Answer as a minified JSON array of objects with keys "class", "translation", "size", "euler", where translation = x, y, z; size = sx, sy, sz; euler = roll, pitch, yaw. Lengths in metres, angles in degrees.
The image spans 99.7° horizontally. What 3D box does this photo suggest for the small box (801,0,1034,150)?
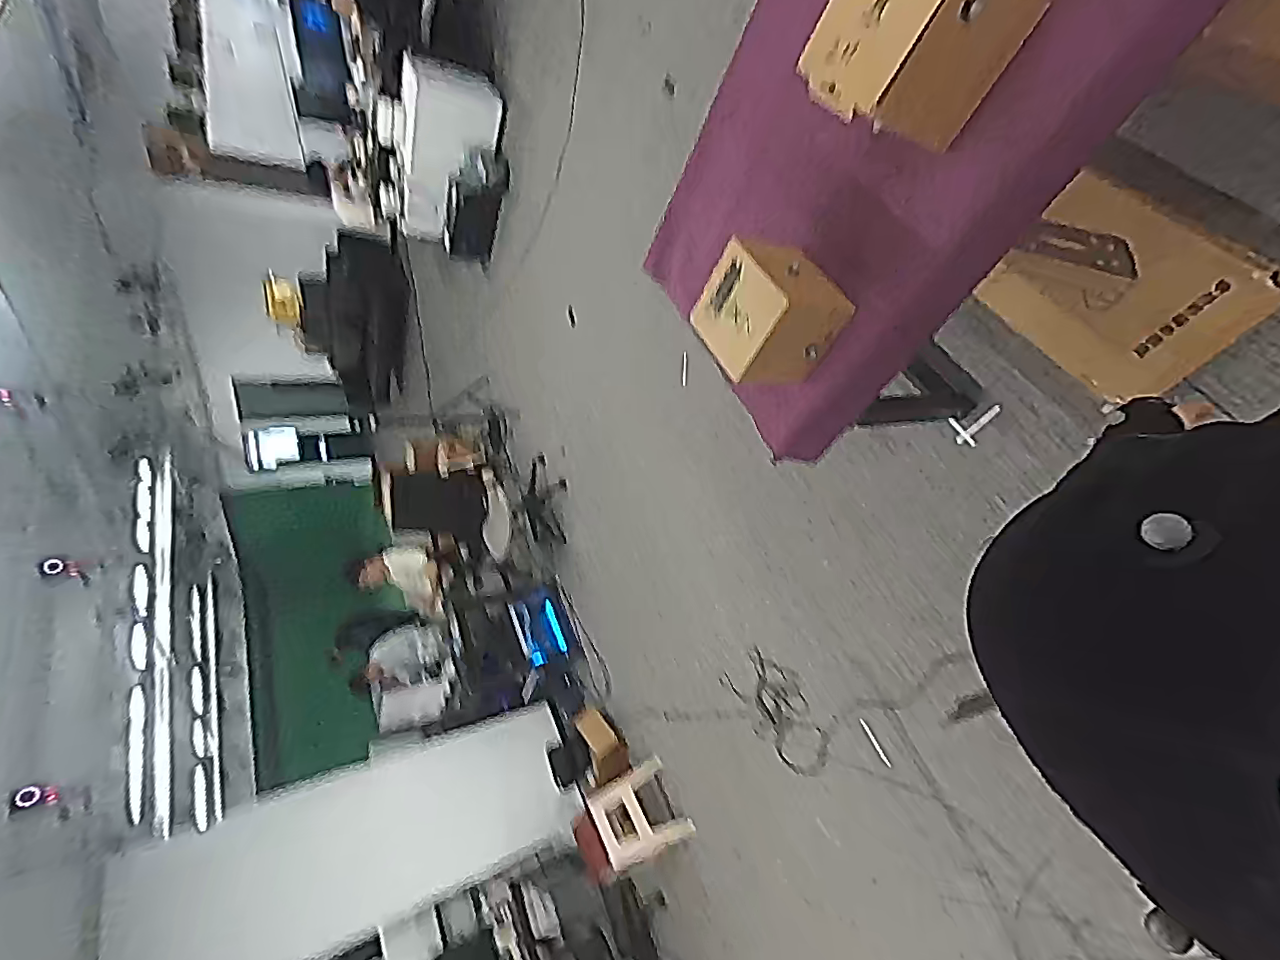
[{"class":"small box","translation":[0.350,-0.560,0.684],"size":[0.168,0.176,0.179],"euler":[63,142,31]}]
